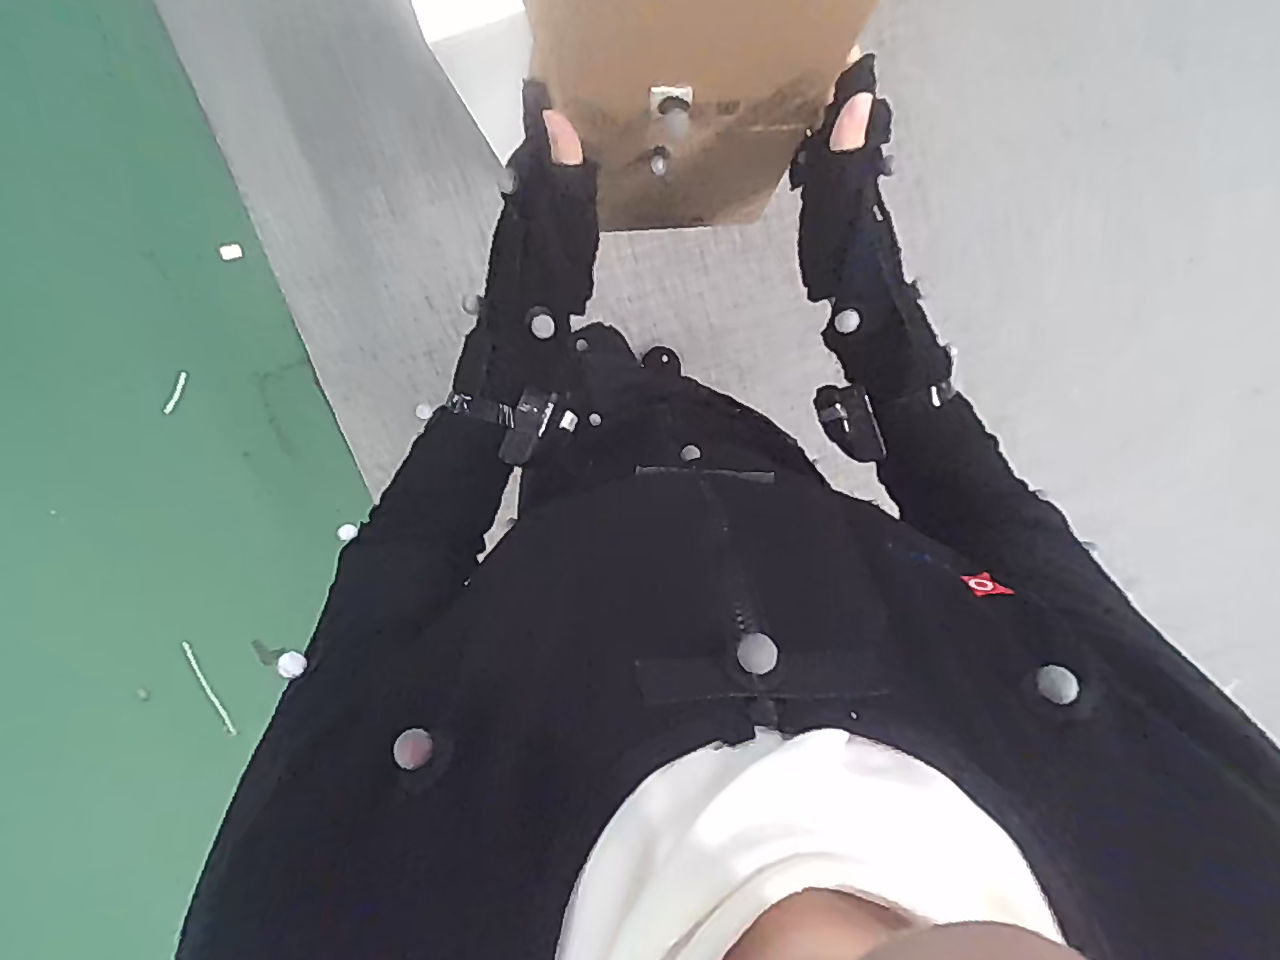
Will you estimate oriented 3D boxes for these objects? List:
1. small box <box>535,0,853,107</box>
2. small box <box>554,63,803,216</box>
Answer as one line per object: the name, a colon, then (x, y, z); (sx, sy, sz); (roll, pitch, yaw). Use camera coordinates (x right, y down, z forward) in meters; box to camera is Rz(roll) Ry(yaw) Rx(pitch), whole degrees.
small box: (0.021, -0.317, 0.249); (0.168, 0.176, 0.179); (-6, 96, 2)
small box: (0.023, -0.334, 0.429); (0.168, 0.176, 0.179); (-2, 95, 1)
